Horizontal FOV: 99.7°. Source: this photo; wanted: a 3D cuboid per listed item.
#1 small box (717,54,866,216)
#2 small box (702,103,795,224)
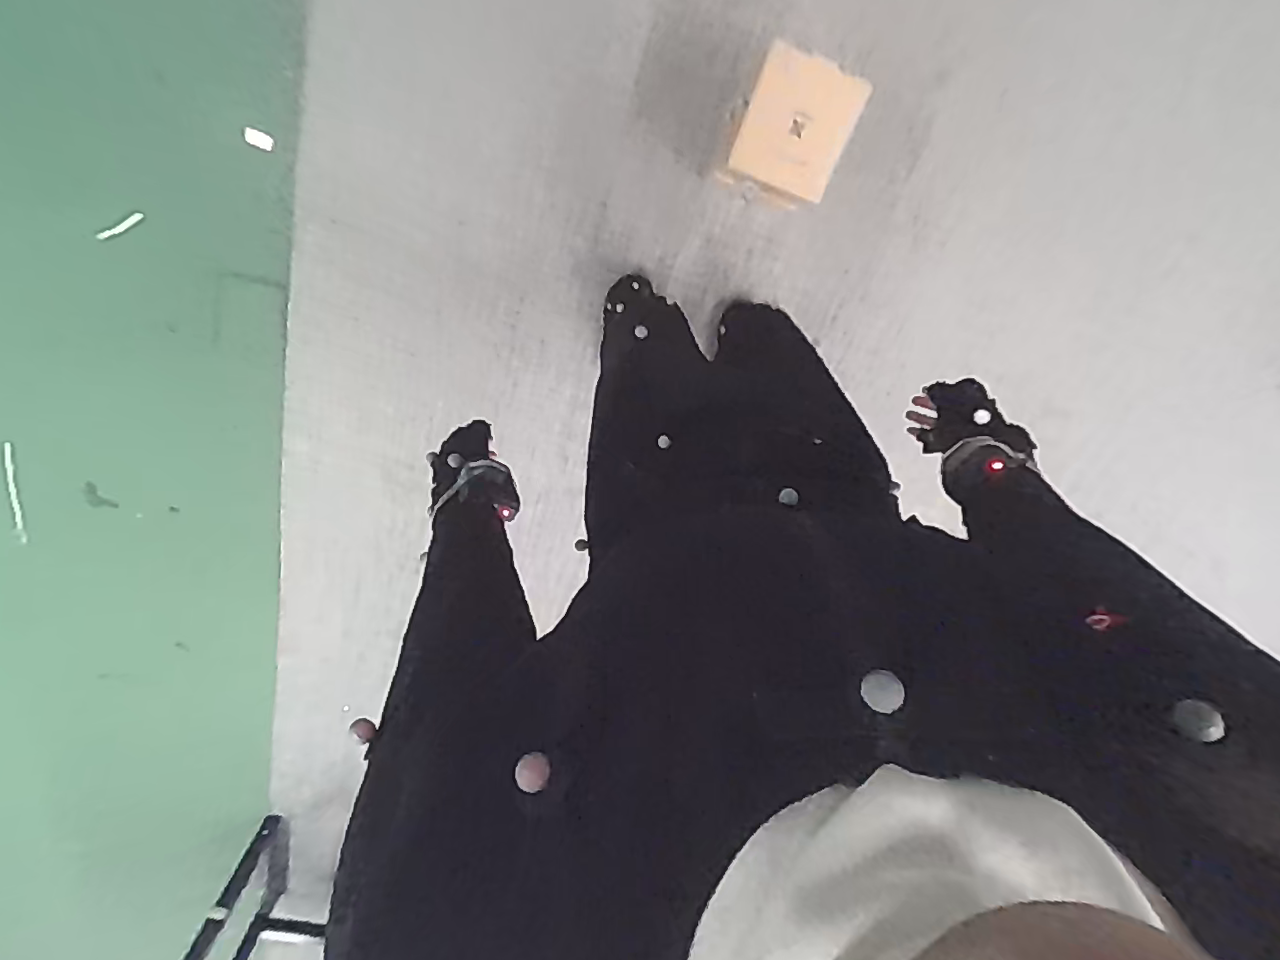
[{"bbox_3d":[0.240,-0.567,0.915,0.168,0.176,0.179,18,115,-8],"label":"small box"},{"bbox_3d":[0.239,-0.626,1.068,0.179,0.176,0.168,18,114,-10],"label":"small box"}]
